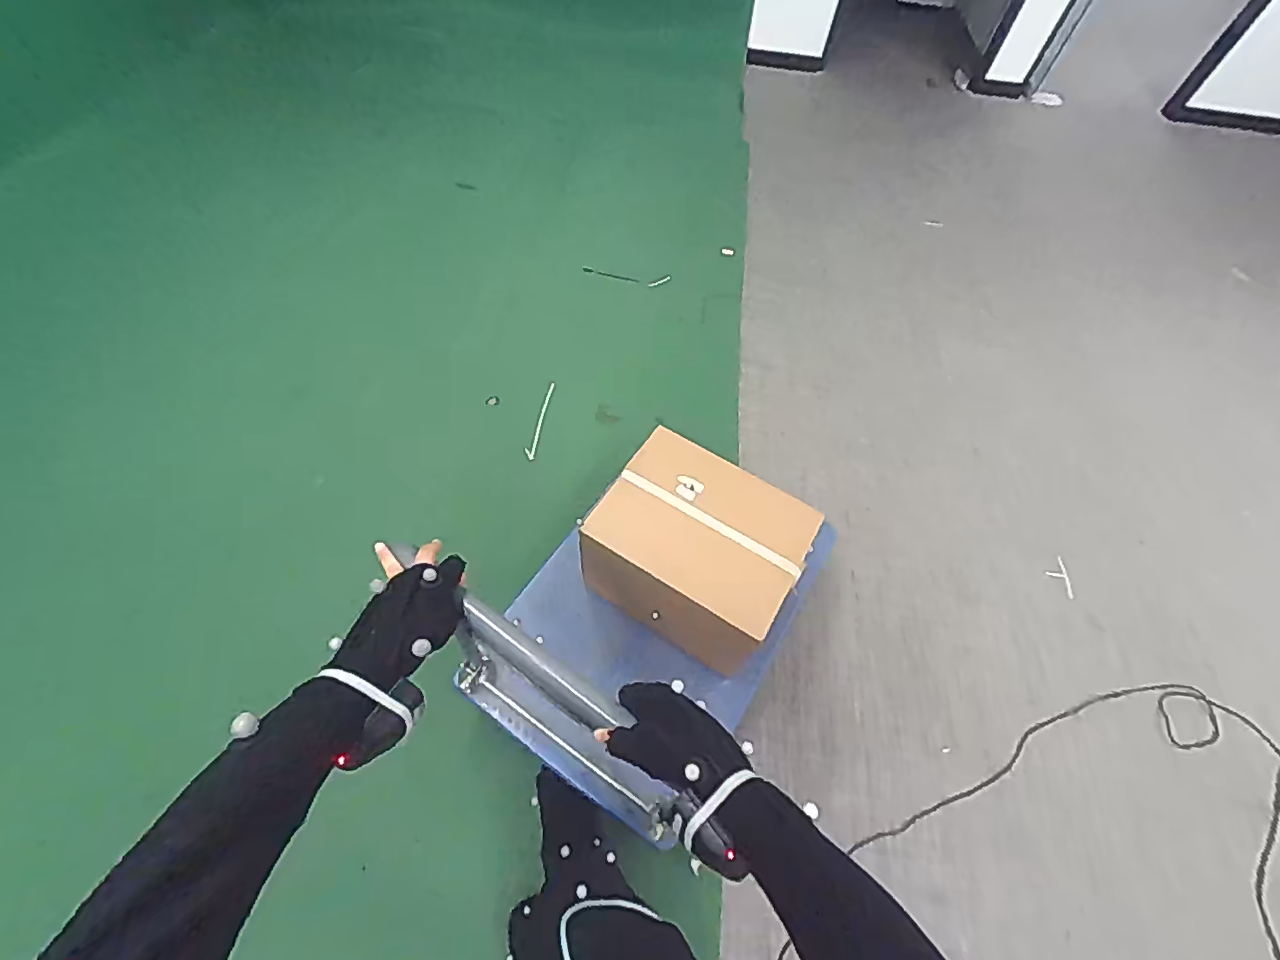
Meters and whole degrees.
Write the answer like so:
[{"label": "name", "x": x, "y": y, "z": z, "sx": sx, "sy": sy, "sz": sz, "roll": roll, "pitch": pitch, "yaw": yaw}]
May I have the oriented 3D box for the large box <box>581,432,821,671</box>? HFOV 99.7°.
[{"label": "large box", "x": 0.124, "y": 0.167, "z": 1.218, "sx": 0.408, "sy": 0.320, "sz": 0.320, "roll": 30, "pitch": 61, "yaw": 14}]
